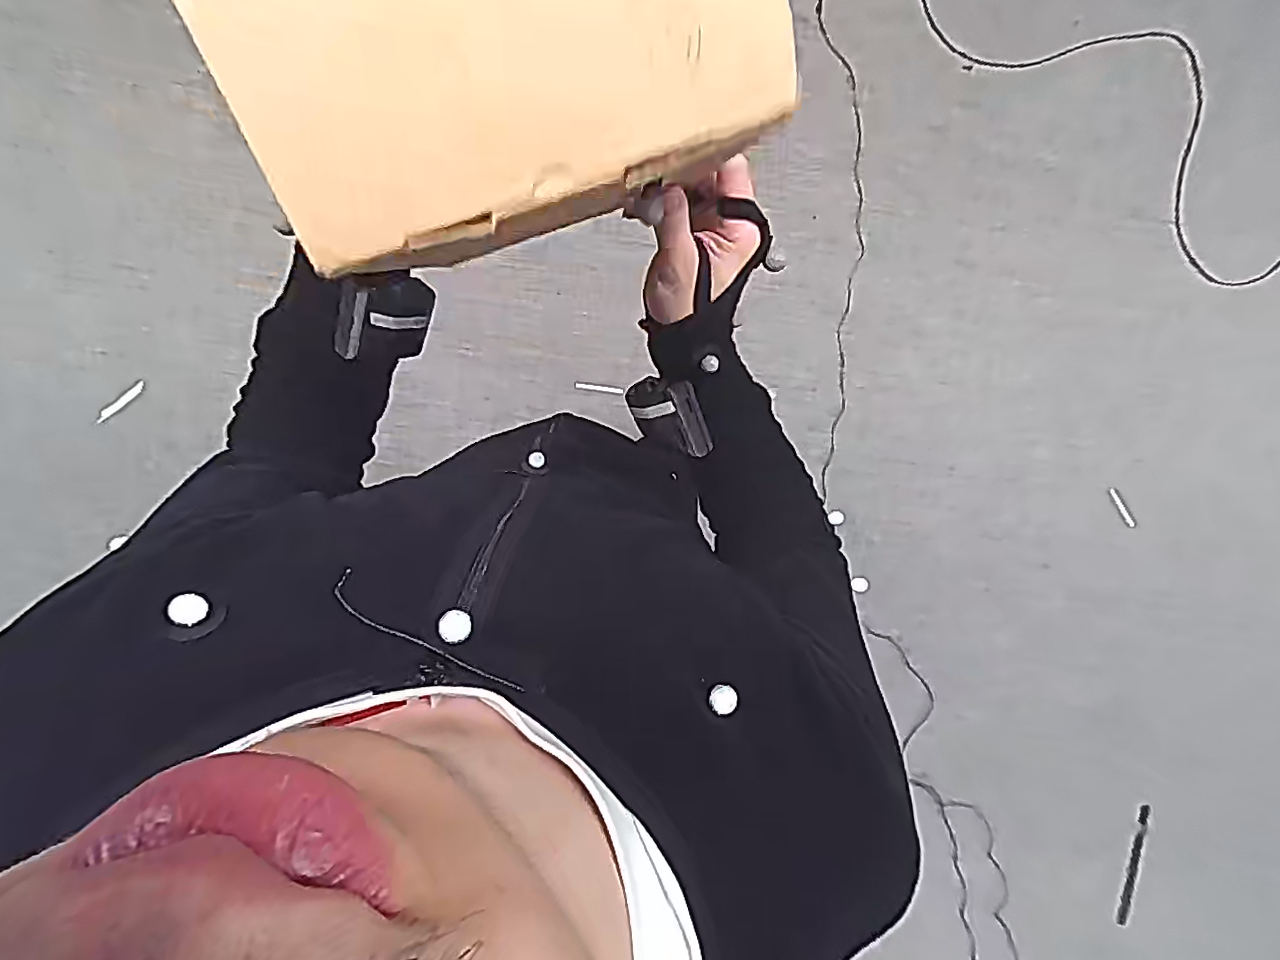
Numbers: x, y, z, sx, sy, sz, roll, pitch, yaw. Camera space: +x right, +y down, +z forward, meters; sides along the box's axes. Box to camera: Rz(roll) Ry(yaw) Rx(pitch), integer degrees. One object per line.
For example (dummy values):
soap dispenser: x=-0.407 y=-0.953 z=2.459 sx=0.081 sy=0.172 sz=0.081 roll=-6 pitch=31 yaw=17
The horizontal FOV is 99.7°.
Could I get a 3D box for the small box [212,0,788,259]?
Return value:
small box: x=-0.059 y=-0.205 z=0.227 sx=0.168 sy=0.176 sz=0.179 roll=-19 pitch=110 yaw=1
